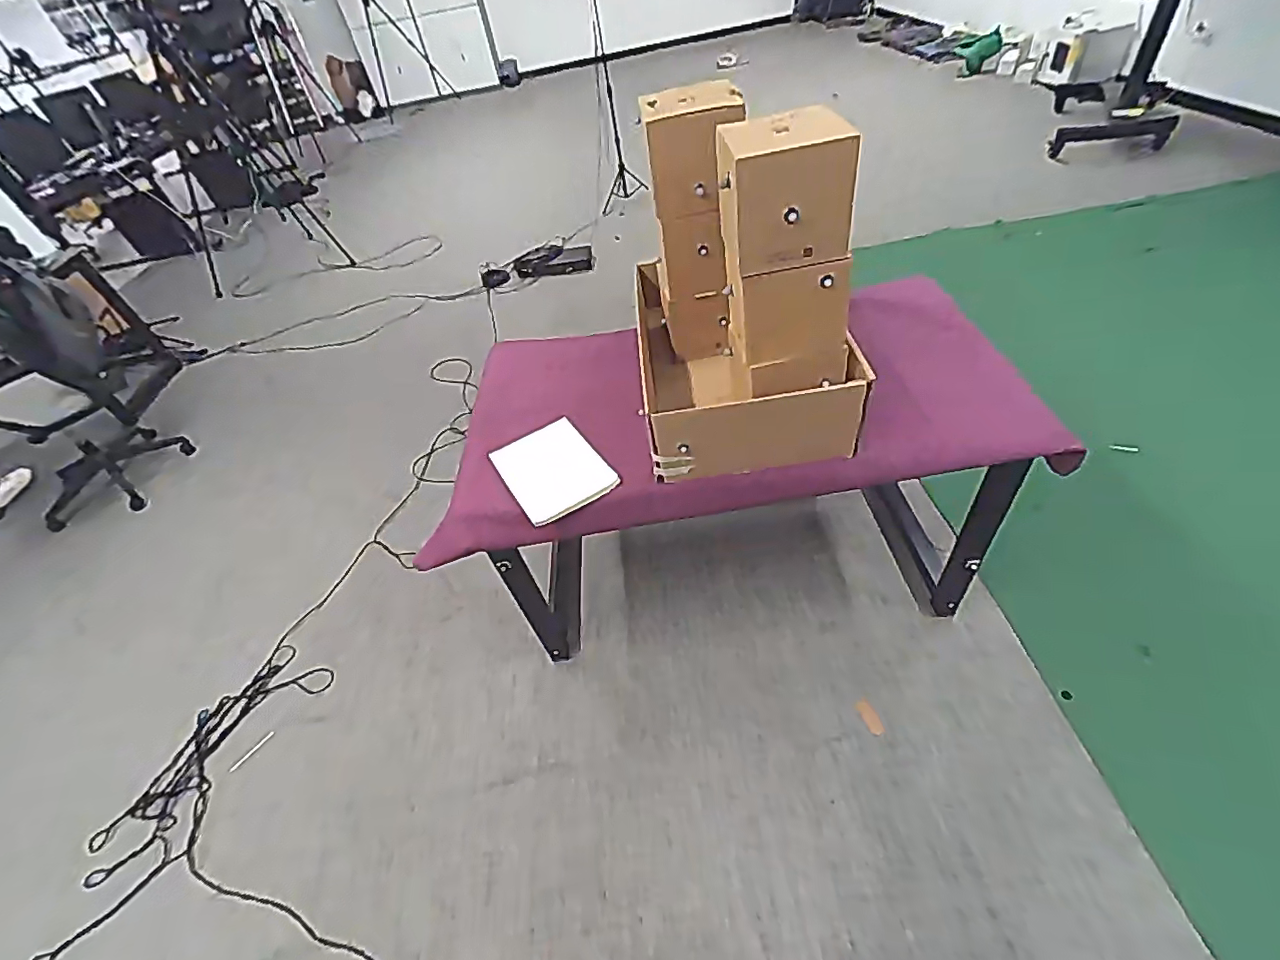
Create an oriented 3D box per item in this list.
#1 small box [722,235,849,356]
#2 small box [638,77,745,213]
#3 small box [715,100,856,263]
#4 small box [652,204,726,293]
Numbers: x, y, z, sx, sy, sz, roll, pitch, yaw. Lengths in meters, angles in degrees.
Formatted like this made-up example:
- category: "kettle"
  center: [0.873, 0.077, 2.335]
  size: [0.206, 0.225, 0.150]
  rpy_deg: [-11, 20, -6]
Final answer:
- category: "small box"
  center: [0.244, -0.332, 0.937]
  size: [0.179, 0.176, 0.168]
  rpy_deg: [-8, 45, 4]
- category: "small box"
  center: [0.096, -0.632, 1.026]
  size: [0.179, 0.176, 0.168]
  rpy_deg: [-8, 47, 3]
- category: "small box"
  center: [0.212, -0.444, 0.821]
  size: [0.168, 0.176, 0.179]
  rpy_deg: [-8, 45, 4]
- category: "small box"
  center: [0.122, -0.521, 1.144]
  size: [0.179, 0.176, 0.168]
  rpy_deg: [-10, 47, 2]
